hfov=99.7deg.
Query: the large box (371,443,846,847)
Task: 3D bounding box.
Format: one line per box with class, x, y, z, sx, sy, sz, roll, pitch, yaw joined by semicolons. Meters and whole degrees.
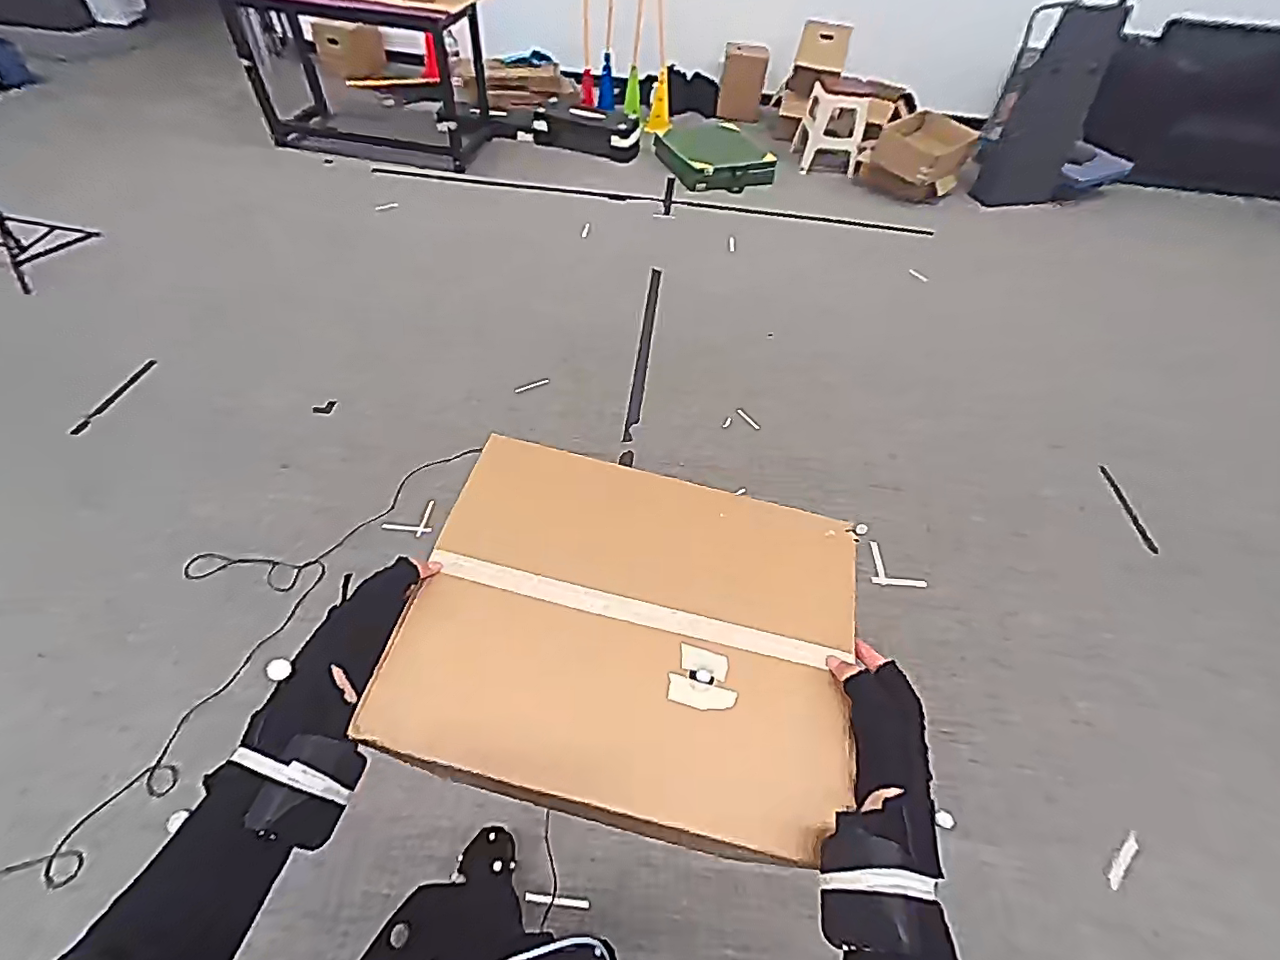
large box;-0.017;0.206;0.640;0.408;0.320;0.320;14;57;1
